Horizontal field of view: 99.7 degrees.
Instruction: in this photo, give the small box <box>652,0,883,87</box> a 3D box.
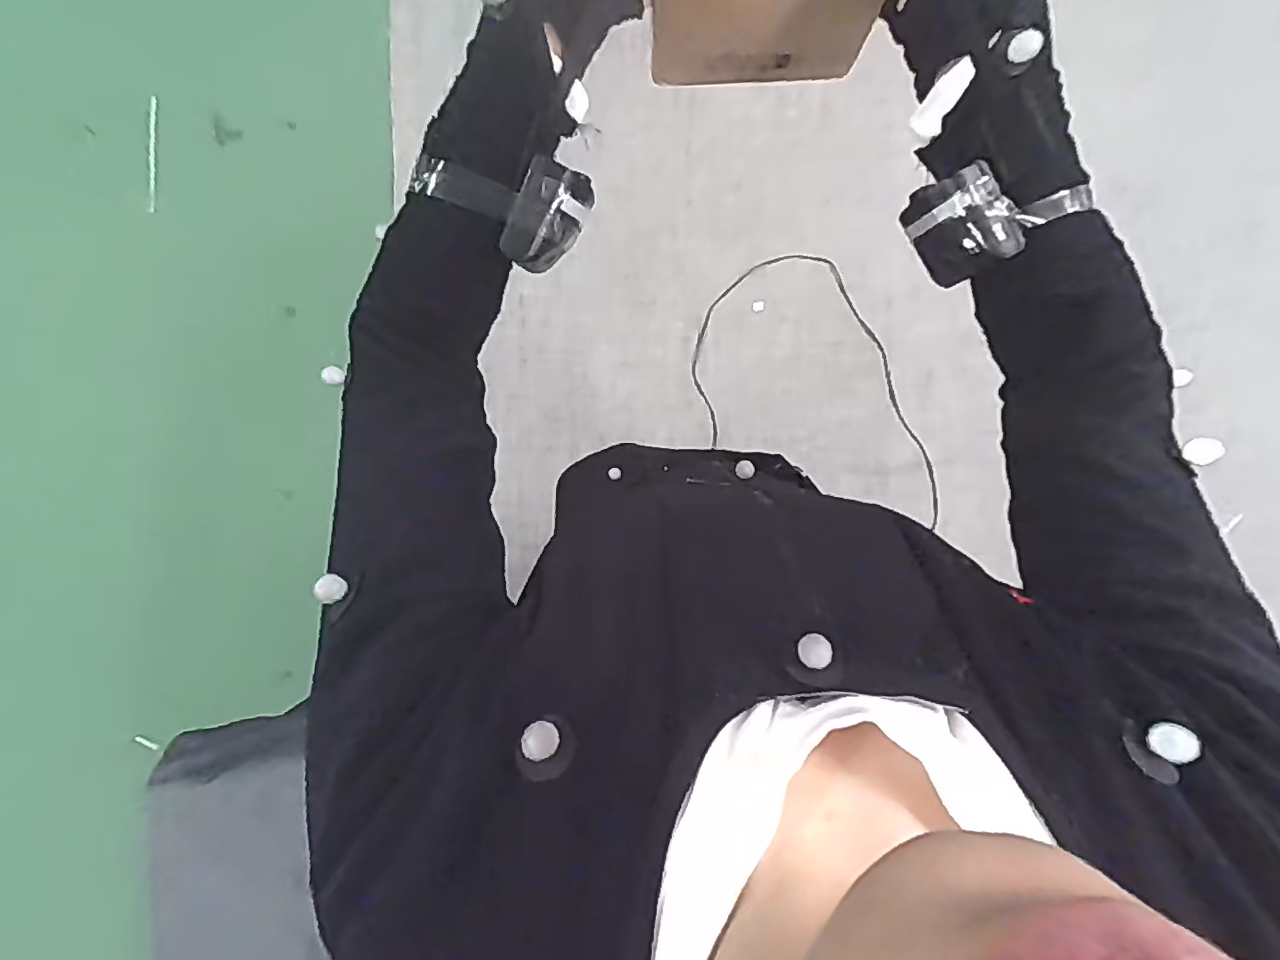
[{"bbox_3d":[0.091,-0.424,0.381,0.168,0.176,0.179,-2,85,0],"label":"small box"}]
